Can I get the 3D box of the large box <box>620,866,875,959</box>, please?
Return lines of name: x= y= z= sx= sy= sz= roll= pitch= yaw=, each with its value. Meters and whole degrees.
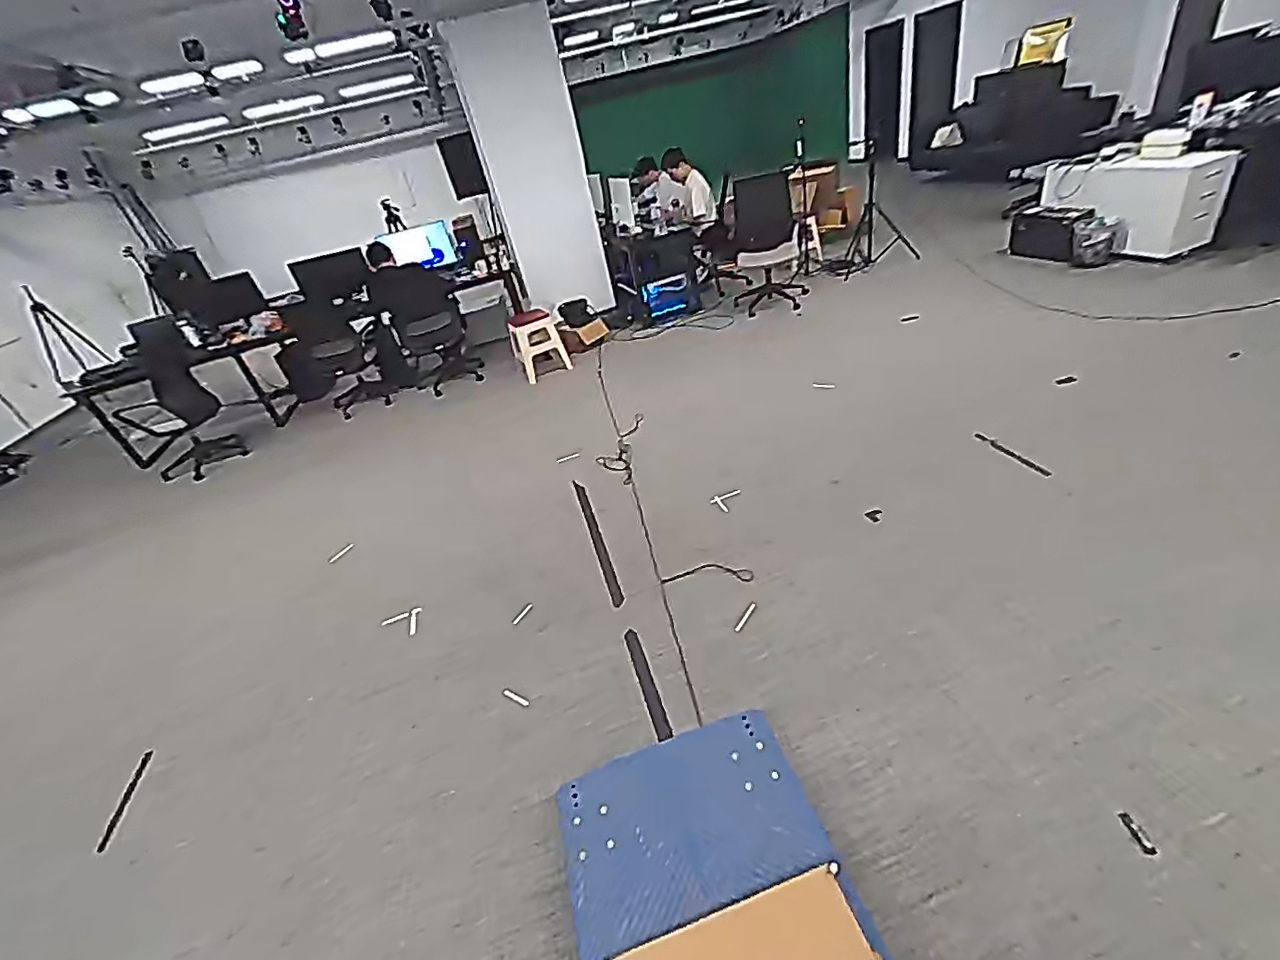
large box: x=0.198 y=0.904 z=0.832 sx=0.408 sy=0.320 sz=0.320 roll=-19 pitch=34 yaw=-7
